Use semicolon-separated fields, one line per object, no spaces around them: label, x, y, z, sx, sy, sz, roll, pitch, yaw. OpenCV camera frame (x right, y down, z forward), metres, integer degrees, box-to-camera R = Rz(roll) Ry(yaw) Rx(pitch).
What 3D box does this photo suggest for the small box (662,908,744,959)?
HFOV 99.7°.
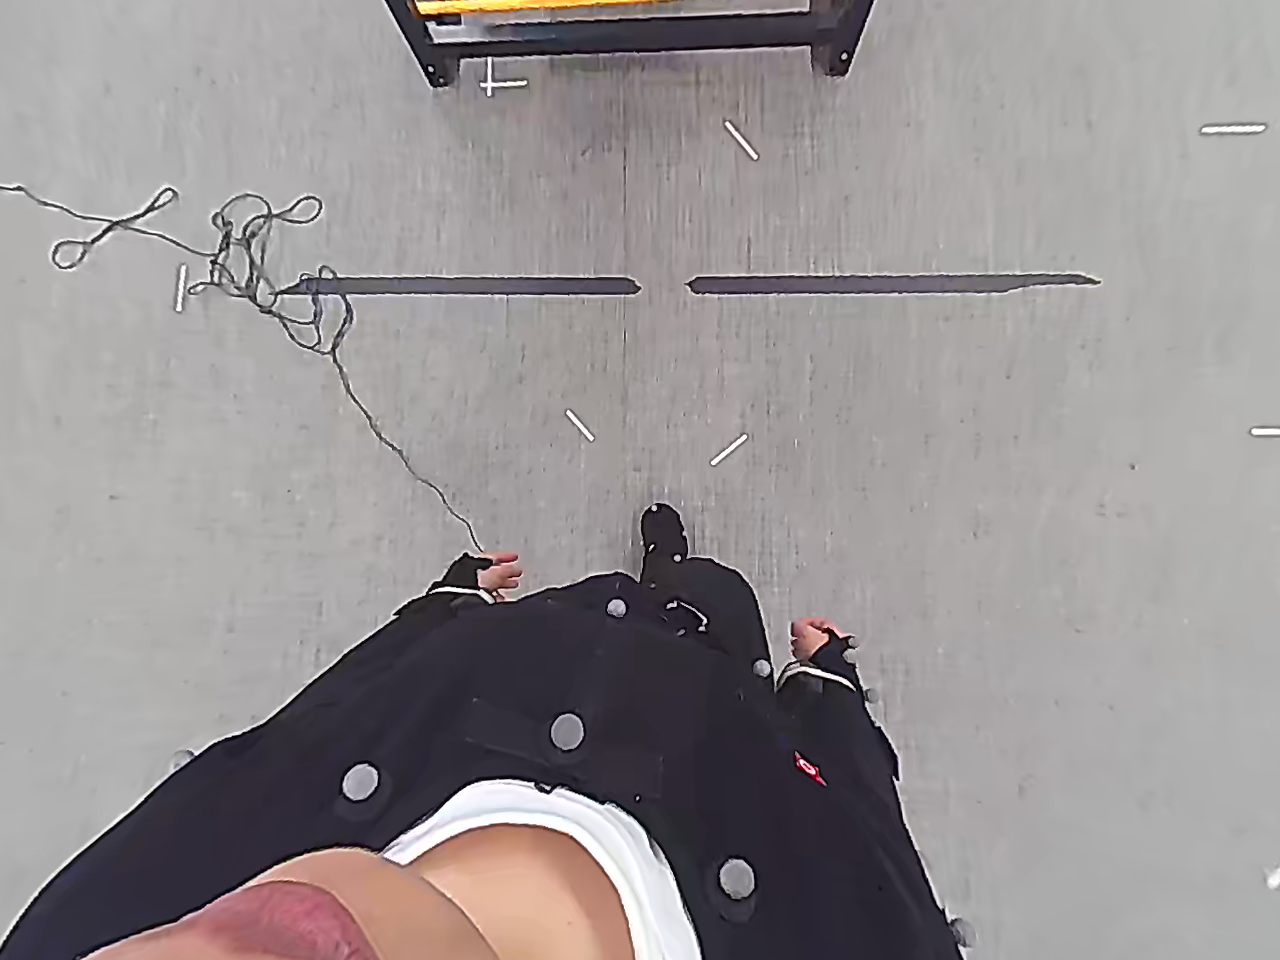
small box;0.137;1.106;1.216;0.179;0.176;0.168;1;84;2
